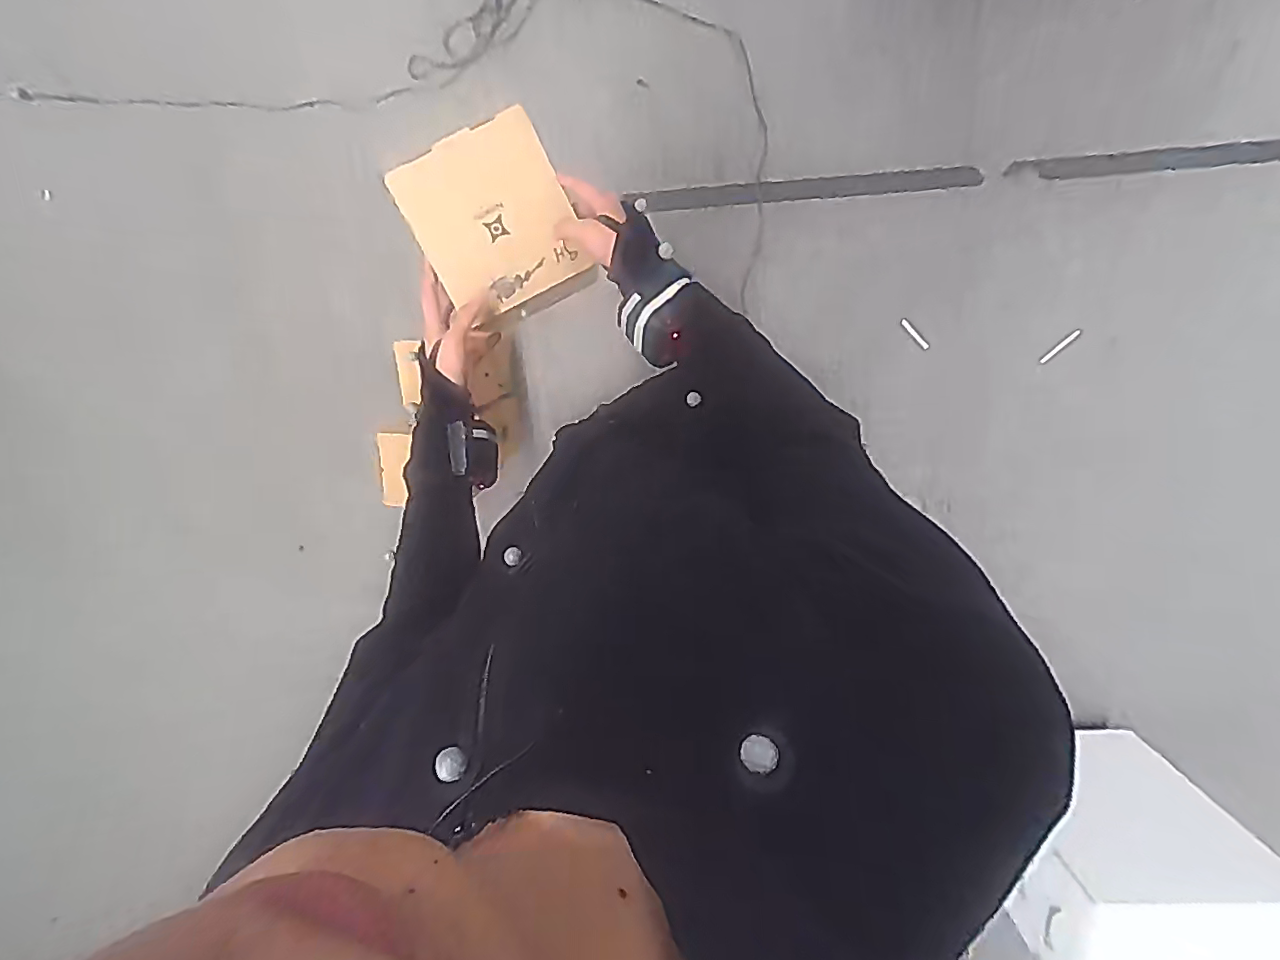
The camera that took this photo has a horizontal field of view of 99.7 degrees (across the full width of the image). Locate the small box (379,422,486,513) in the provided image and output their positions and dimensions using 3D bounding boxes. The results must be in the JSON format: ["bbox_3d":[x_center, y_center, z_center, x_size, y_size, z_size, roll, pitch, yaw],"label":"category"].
[{"bbox_3d":[-0.461,-0.035,1.225,0.179,0.176,0.168,4,107,2],"label":"small box"}]
